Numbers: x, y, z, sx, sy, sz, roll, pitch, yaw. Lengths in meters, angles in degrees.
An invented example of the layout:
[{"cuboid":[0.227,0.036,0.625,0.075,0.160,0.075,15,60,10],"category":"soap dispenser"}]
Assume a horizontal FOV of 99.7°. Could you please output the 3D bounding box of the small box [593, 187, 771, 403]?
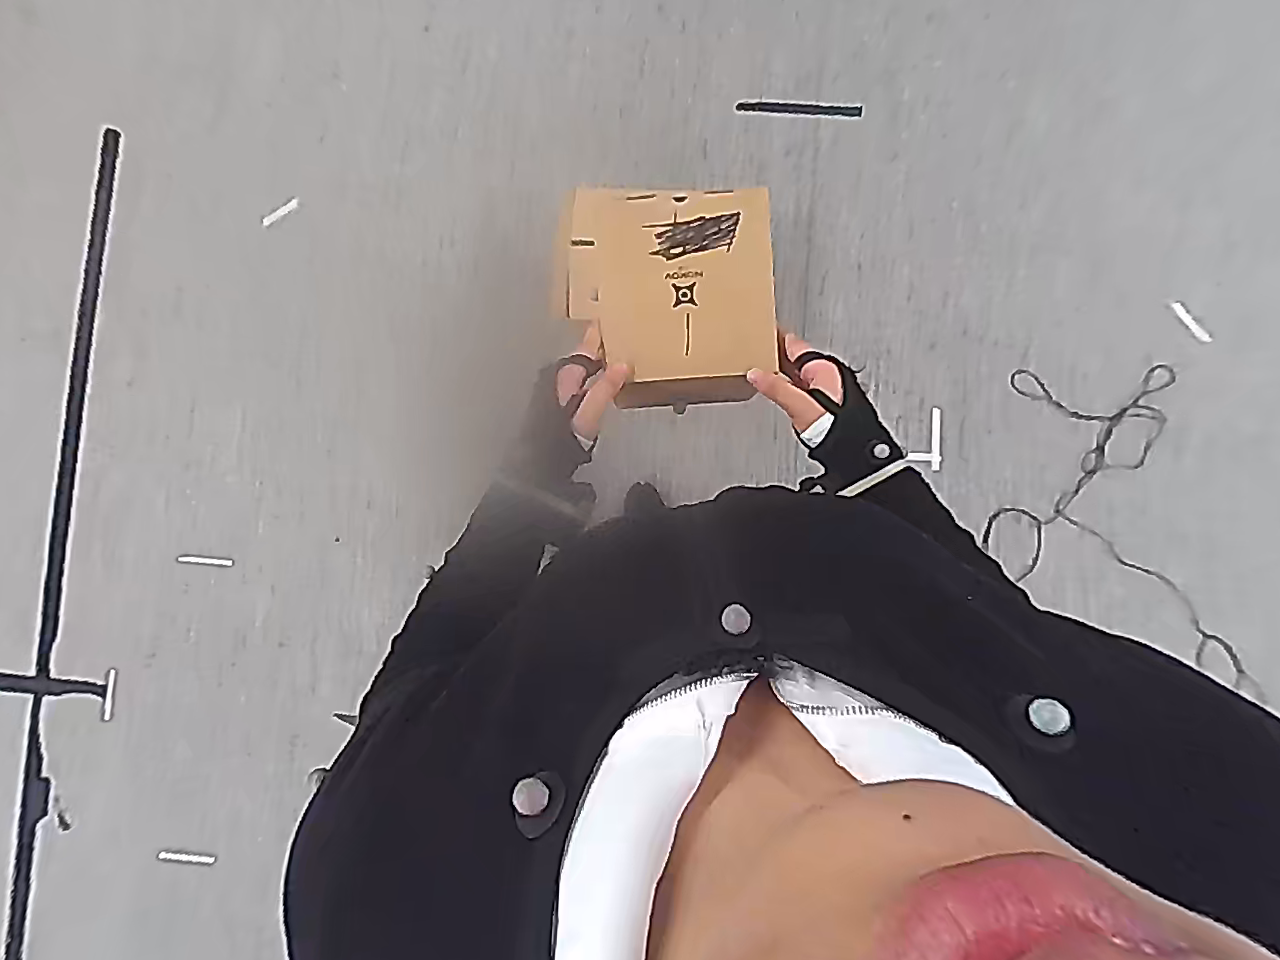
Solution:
[{"cuboid":[0.040,-0.186,0.588,0.168,0.176,0.179,-3,90,1],"category":"small box"}]
